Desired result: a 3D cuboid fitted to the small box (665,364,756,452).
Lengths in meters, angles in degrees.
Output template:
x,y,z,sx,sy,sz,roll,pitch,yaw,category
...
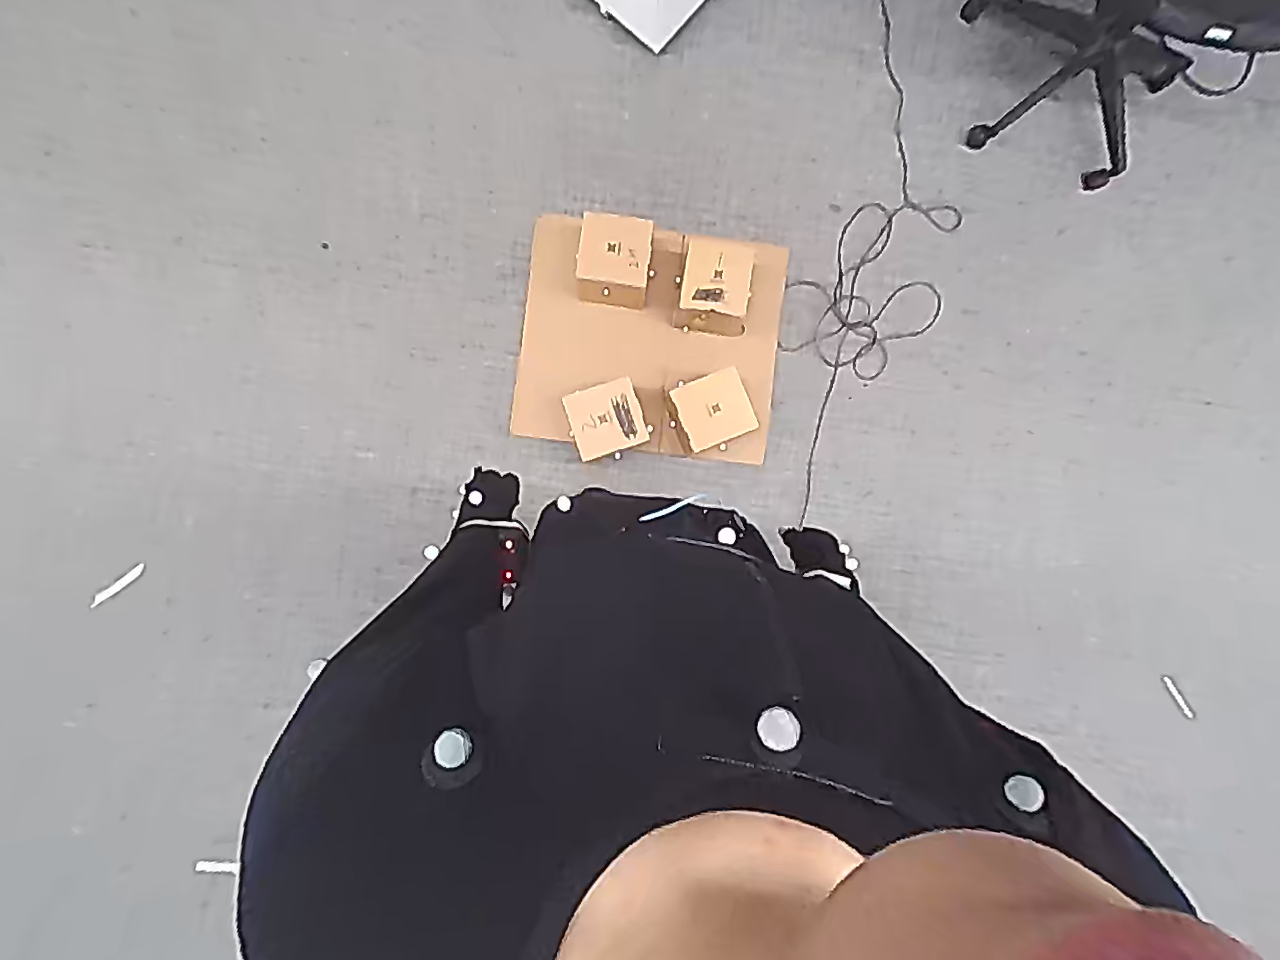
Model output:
x,y,z,sx,sy,sz,roll,pitch,yaw,category
0.176,-0.181,1.404,0.179,0.176,0.168,-22,90,-1,small box
